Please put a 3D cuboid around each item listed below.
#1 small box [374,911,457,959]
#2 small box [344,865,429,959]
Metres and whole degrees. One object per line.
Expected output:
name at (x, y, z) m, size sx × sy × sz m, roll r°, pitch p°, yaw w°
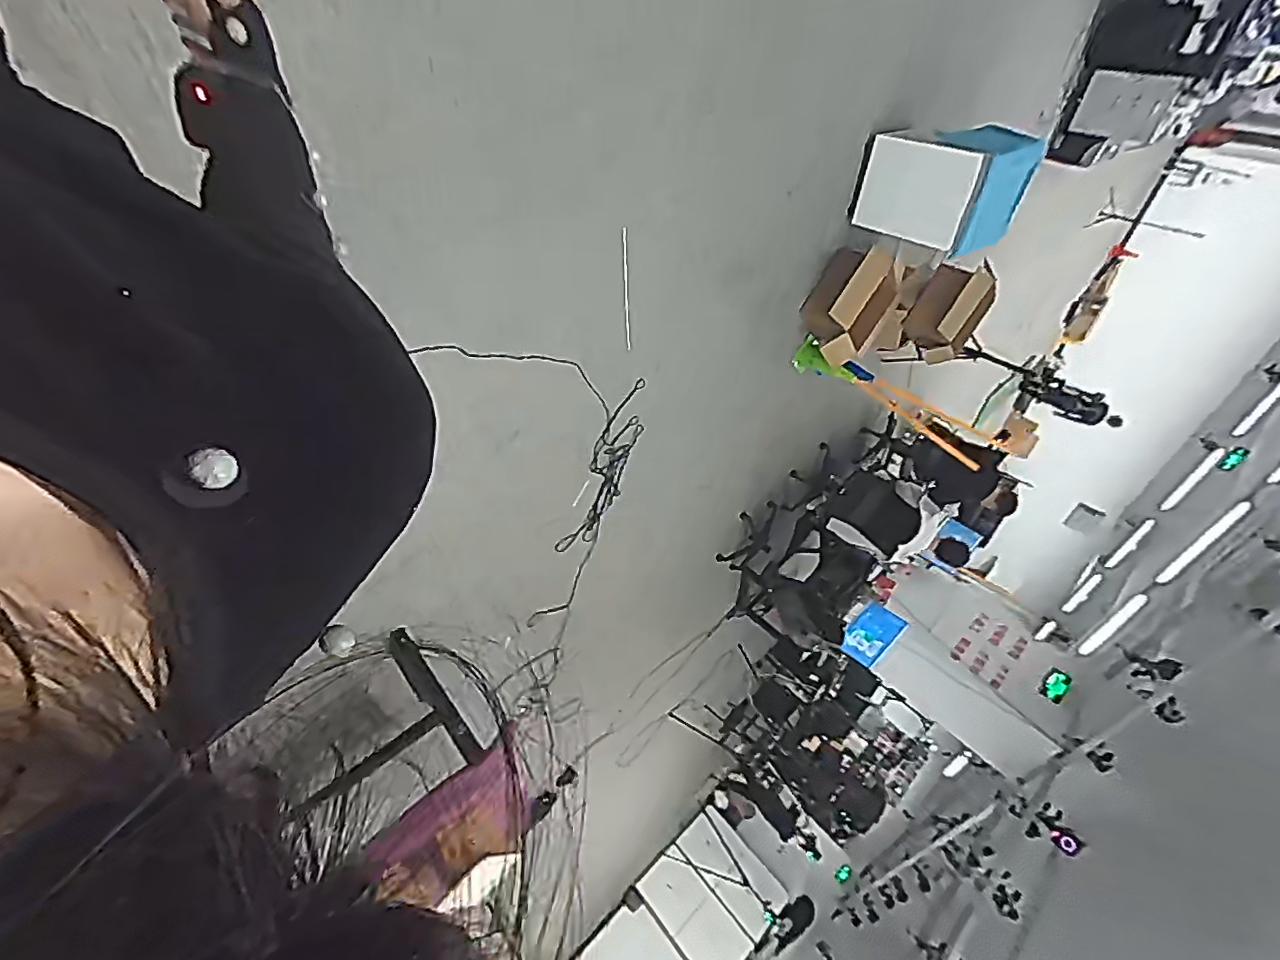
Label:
small box at (-0.607, 1.331, 1.466) m, size 0.179 × 0.176 × 0.168 m, roll -30°, pitch 142°, yaw -31°
small box at (-0.721, 1.258, 1.557) m, size 0.168 × 0.176 × 0.179 m, roll -30°, pitch 142°, yaw -30°
